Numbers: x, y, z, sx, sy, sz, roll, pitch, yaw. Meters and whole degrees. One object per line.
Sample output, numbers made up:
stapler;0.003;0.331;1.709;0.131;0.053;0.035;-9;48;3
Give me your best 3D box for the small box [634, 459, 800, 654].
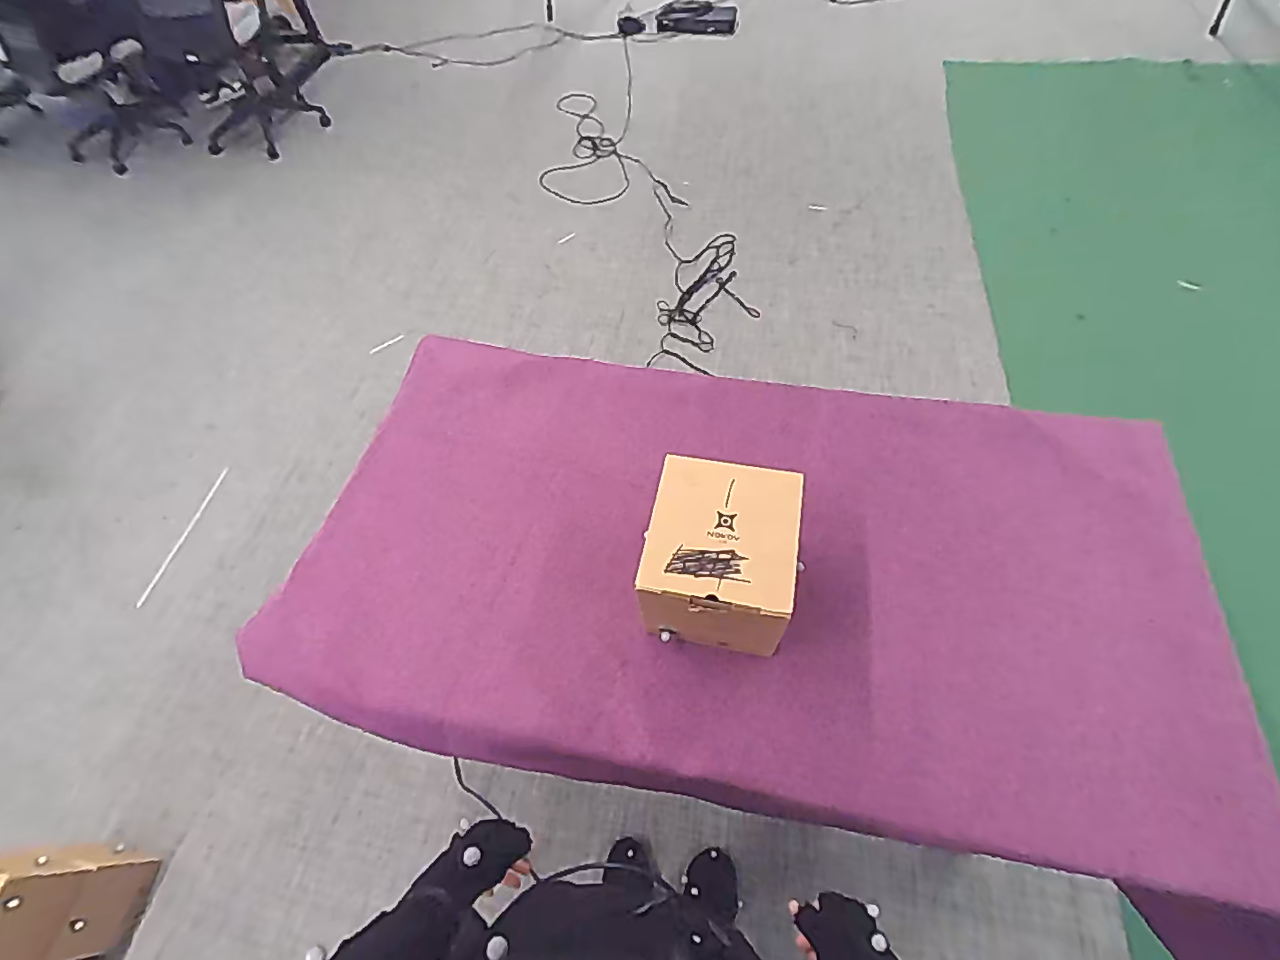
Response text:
small box;0.097;0.101;0.676;0.168;0.176;0.179;9;59;10
